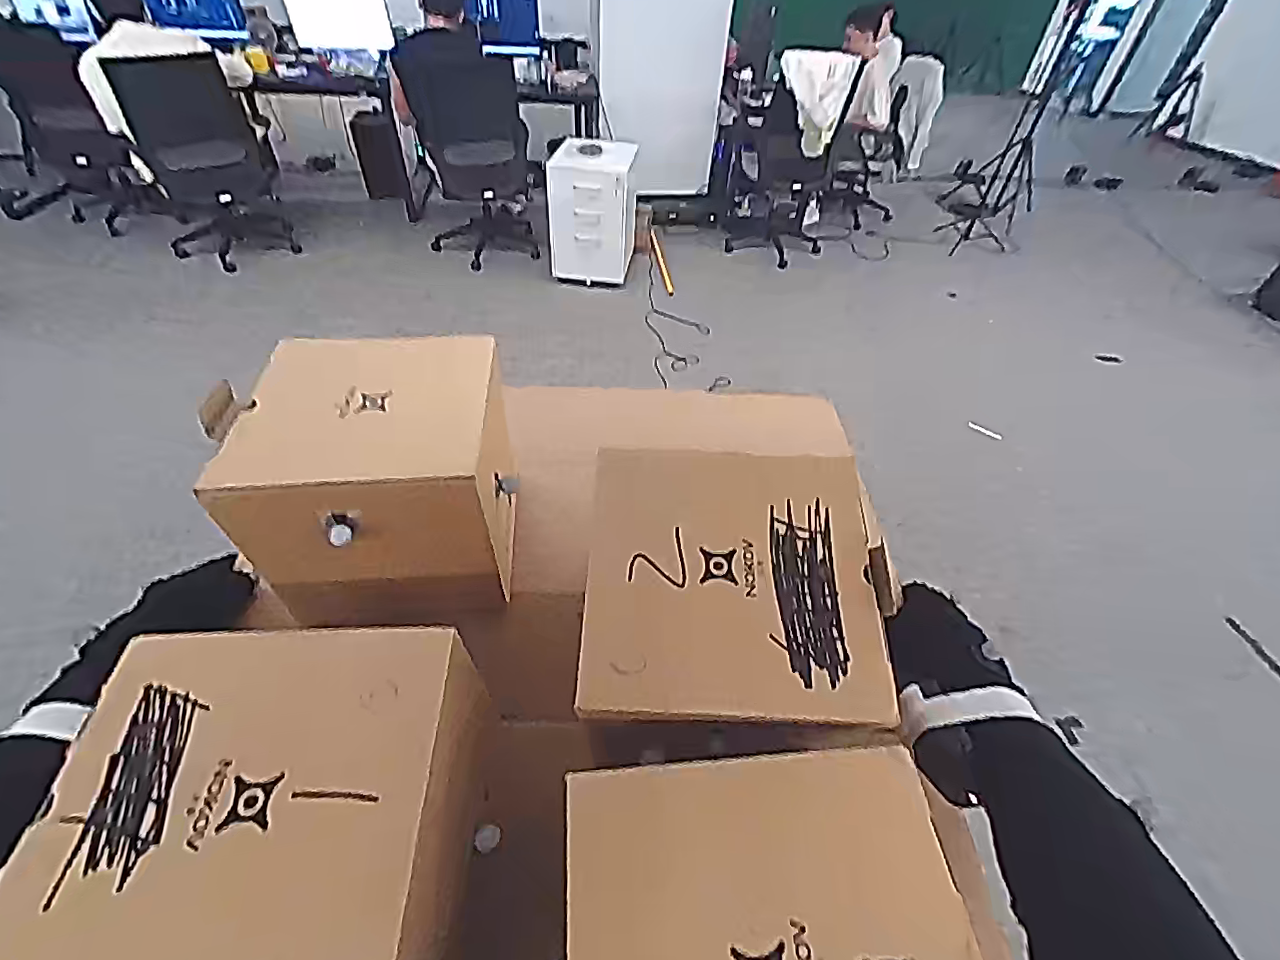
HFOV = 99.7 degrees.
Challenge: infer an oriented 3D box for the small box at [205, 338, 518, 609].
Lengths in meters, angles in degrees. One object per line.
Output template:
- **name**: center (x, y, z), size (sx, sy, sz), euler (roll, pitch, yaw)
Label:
- **small box**: center (-0.205, -0.004, 0.468), size (0.179, 0.176, 0.168), euler (-3, 47, -5)
